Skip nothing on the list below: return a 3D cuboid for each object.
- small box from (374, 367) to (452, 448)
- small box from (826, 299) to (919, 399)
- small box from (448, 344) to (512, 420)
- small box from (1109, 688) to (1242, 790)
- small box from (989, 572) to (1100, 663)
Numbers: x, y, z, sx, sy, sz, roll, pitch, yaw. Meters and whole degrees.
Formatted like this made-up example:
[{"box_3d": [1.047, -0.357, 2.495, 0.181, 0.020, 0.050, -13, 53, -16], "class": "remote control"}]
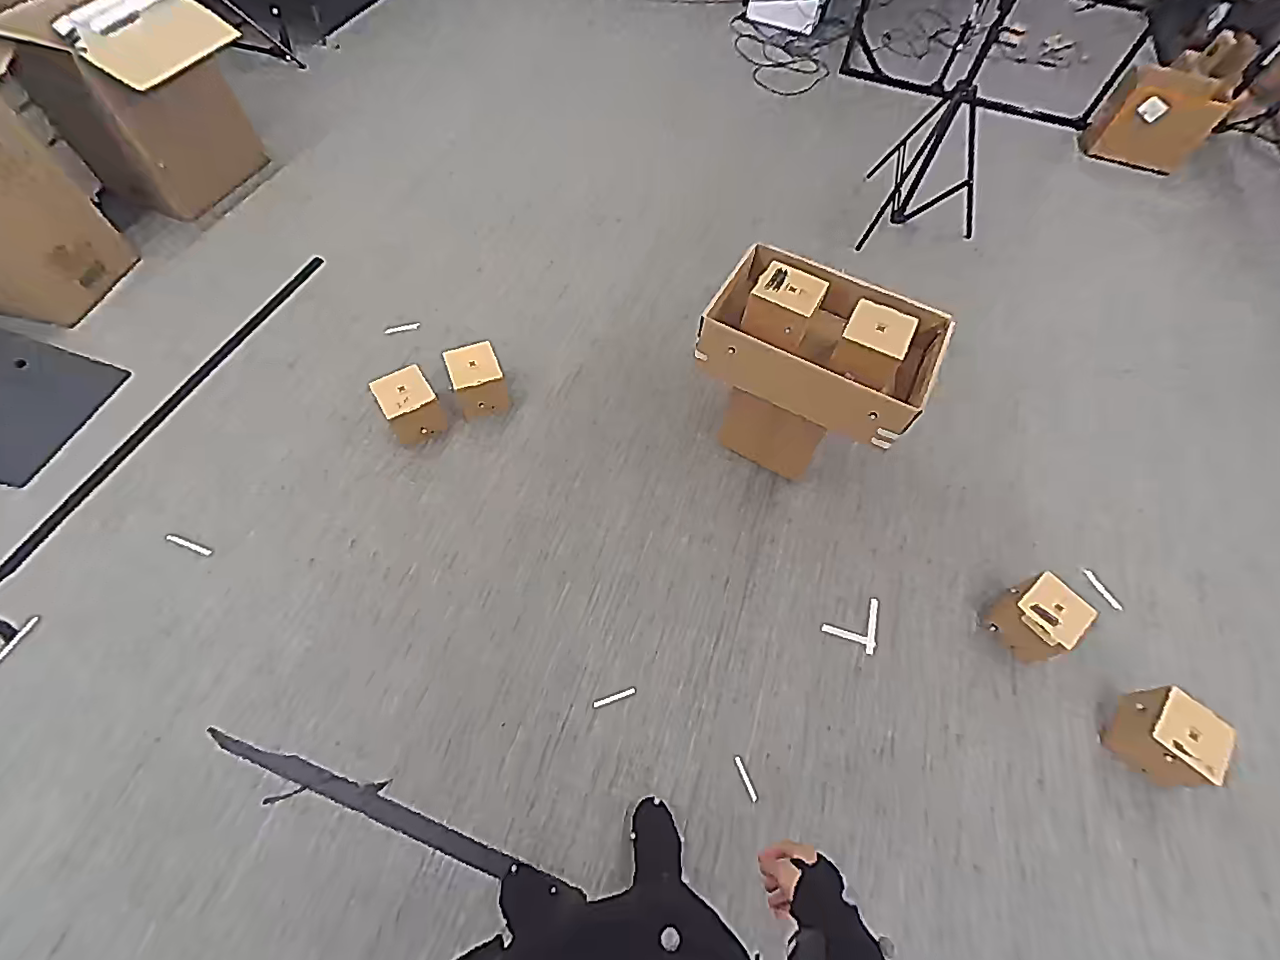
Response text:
[{"box_3d": [-0.764, -0.243, 1.833, 0.168, 0.176, 0.179, -29, 66, -18], "class": "small box"}, {"box_3d": [0.640, -0.361, 1.501, 0.168, 0.176, 0.179, 26, 59, 13], "class": "small box"}, {"box_3d": [-0.561, -0.342, 1.906, 0.168, 0.176, 0.179, -20, 64, -15], "class": "small box"}, {"box_3d": [1.403, 0.686, 1.427, 0.168, 0.176, 0.179, 41, 65, 19], "class": "small box"}, {"box_3d": [1.165, 0.406, 1.575, 0.179, 0.176, 0.168, -34, 67, -21], "class": "small box"}]
